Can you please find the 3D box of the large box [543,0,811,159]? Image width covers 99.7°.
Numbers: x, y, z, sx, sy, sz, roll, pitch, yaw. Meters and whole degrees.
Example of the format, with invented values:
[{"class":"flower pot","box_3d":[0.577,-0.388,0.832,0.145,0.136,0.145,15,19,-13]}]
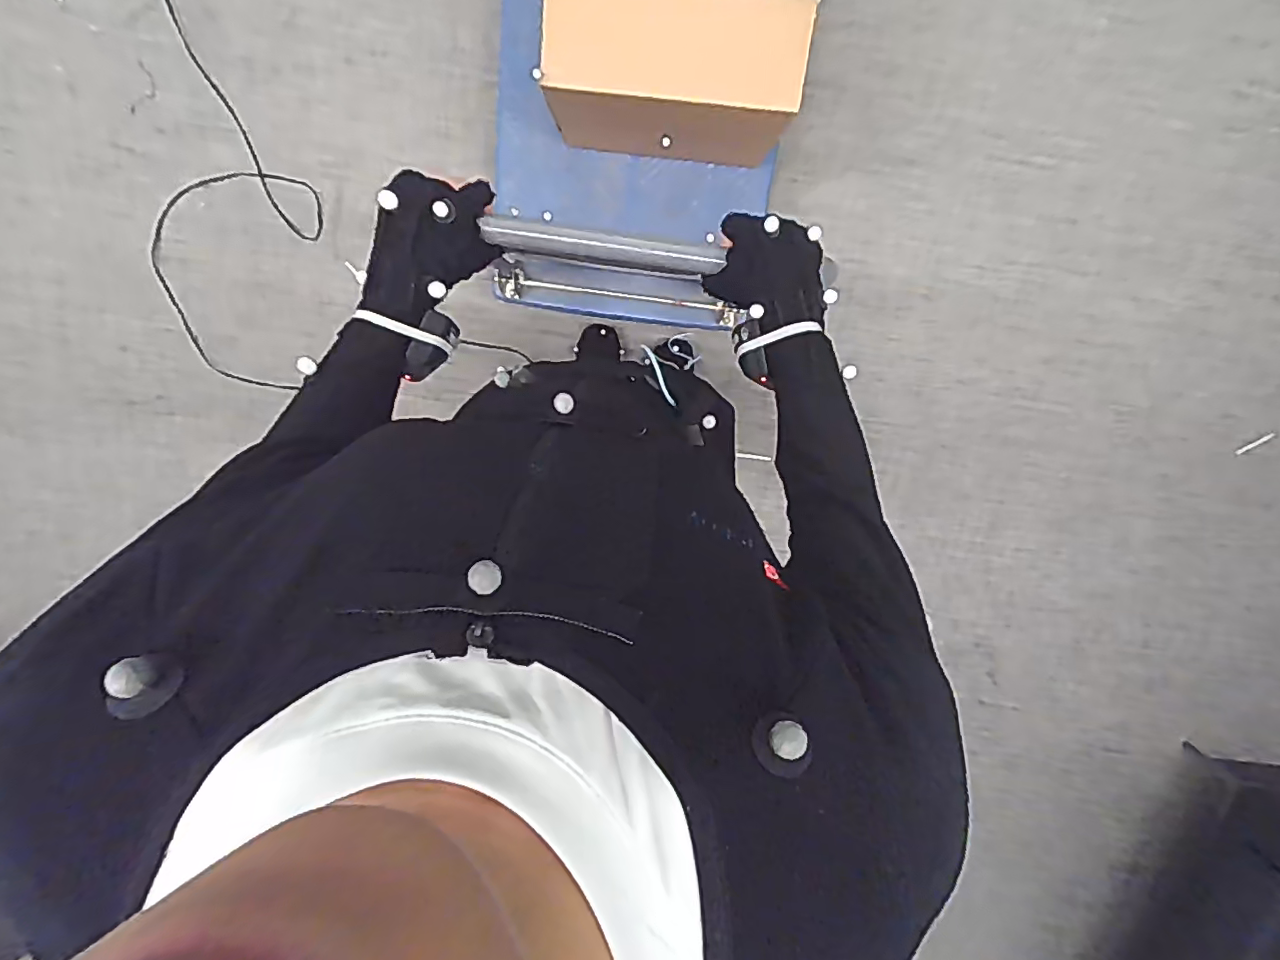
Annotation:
[{"class":"large box","box_3d":[0.064,-0.783,0.943,0.408,0.320,0.320,6,106,0]}]
